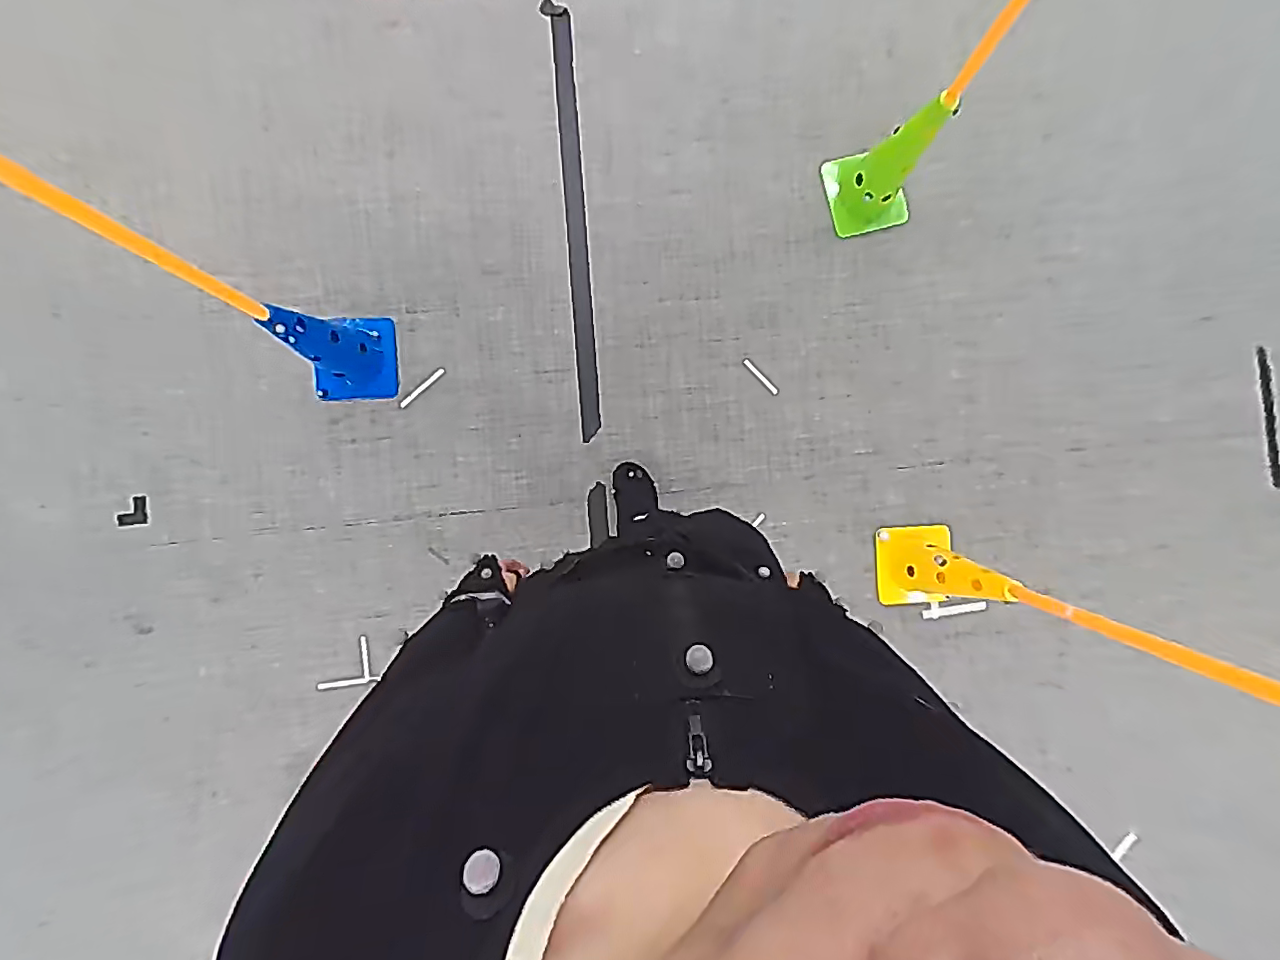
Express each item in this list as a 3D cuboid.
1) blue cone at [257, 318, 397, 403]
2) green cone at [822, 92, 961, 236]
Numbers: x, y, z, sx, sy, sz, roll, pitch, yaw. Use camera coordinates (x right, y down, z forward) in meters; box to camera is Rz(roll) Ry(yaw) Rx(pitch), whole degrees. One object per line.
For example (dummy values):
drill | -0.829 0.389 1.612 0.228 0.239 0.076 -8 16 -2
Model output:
blue cone | -0.694 -0.288 1.171 0.193 0.380 0.192 -2 90 -3
green cone | 0.591 -0.744 1.229 0.200 0.368 0.202 -16 92 -3
